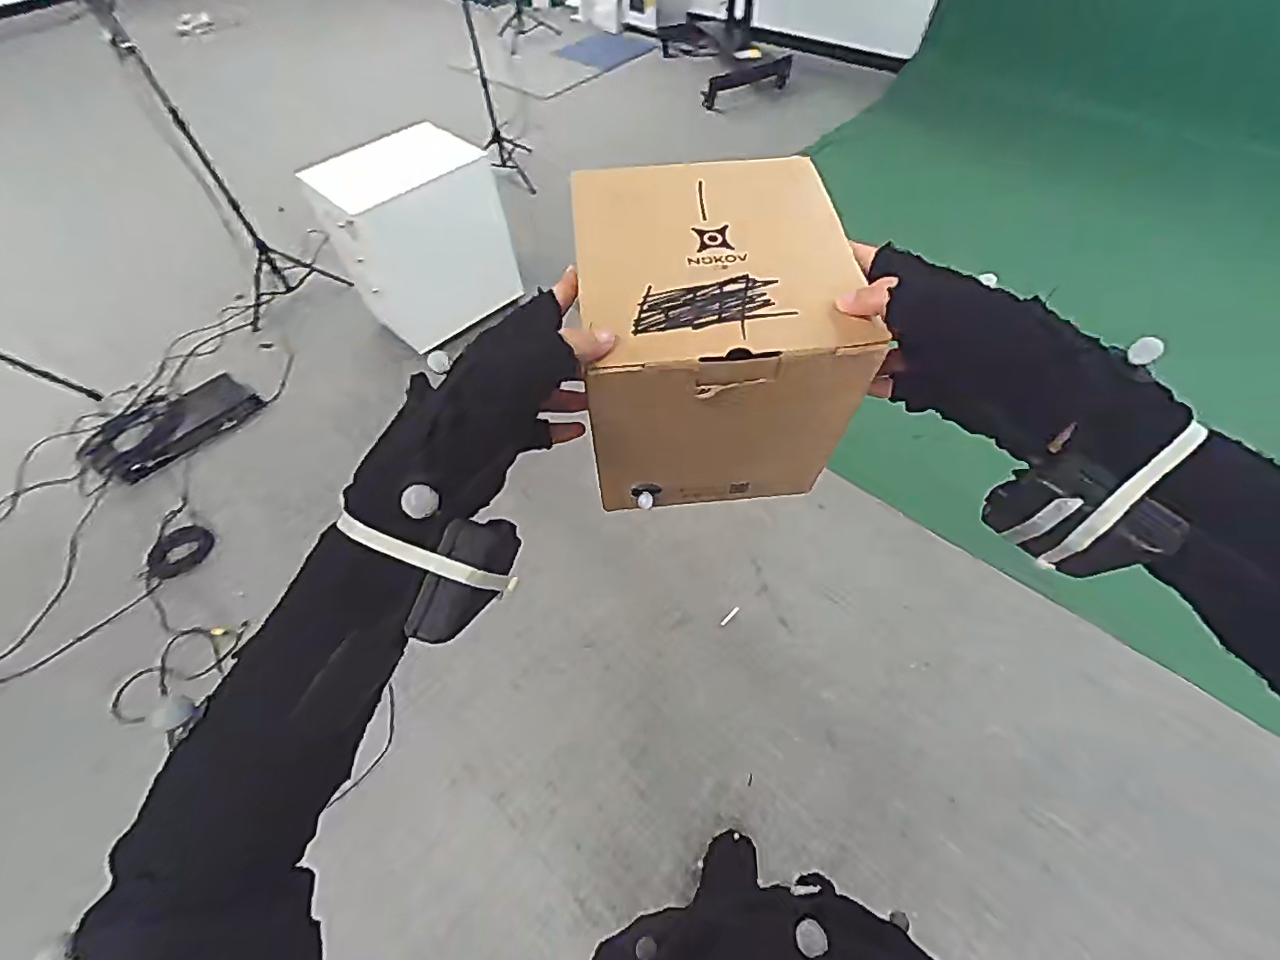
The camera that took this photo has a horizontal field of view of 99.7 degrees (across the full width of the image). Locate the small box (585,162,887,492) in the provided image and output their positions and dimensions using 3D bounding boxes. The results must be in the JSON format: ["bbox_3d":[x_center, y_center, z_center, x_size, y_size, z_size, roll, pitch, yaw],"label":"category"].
[{"bbox_3d":[0.051,-0.101,0.404,0.168,0.176,0.179,-5,60,-2],"label":"small box"}]
